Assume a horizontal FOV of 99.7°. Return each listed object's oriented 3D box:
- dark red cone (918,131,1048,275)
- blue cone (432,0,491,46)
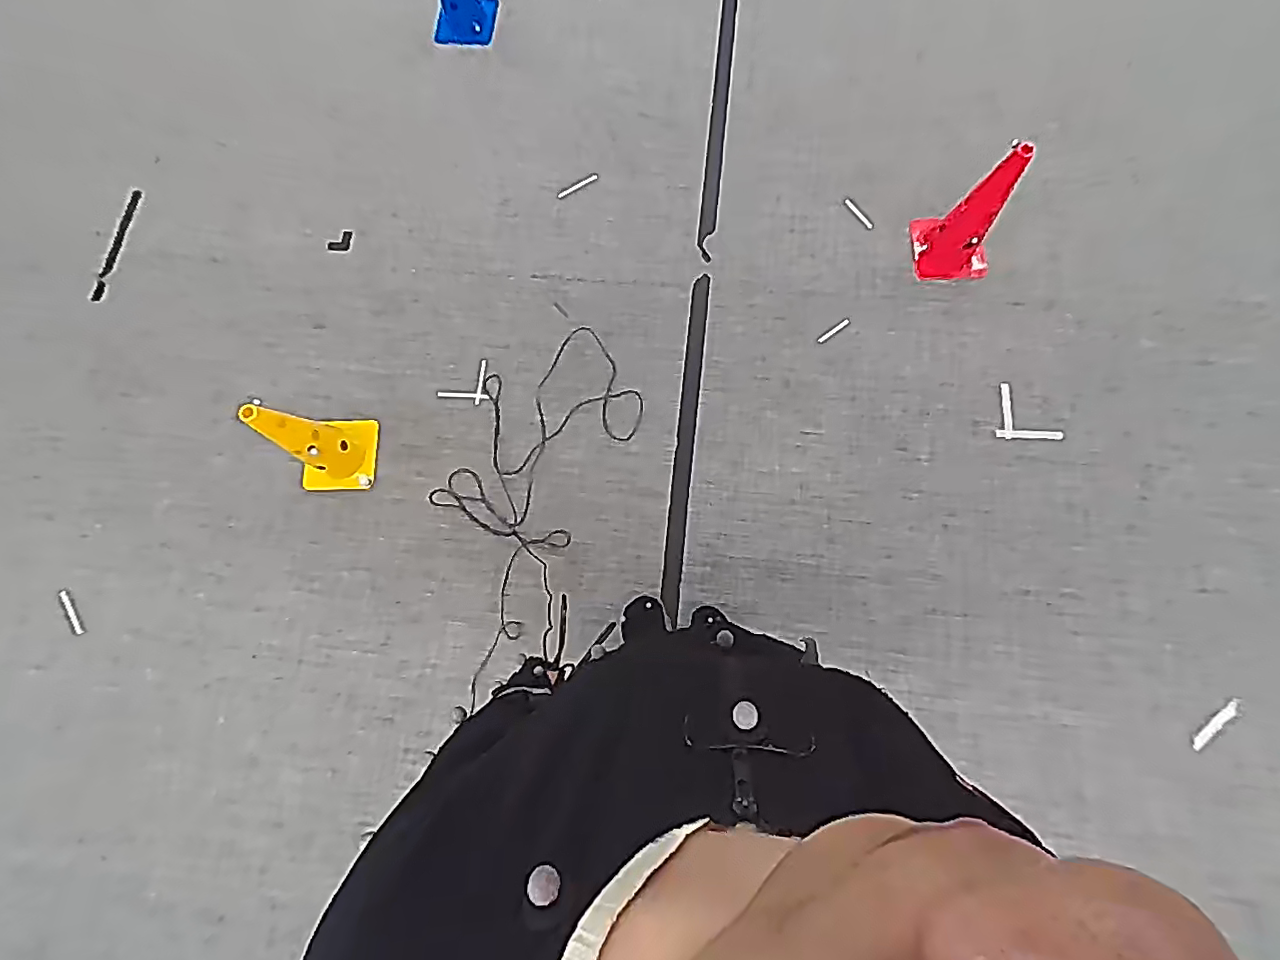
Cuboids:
[{"bbox_3d":[0.886,-0.708,1.368,0.201,0.394,0.202,-2,77,3],"label":"dark red cone"},{"bbox_3d":[-0.612,-1.583,1.668,0.192,0.380,0.193,6,77,5],"label":"blue cone"}]
